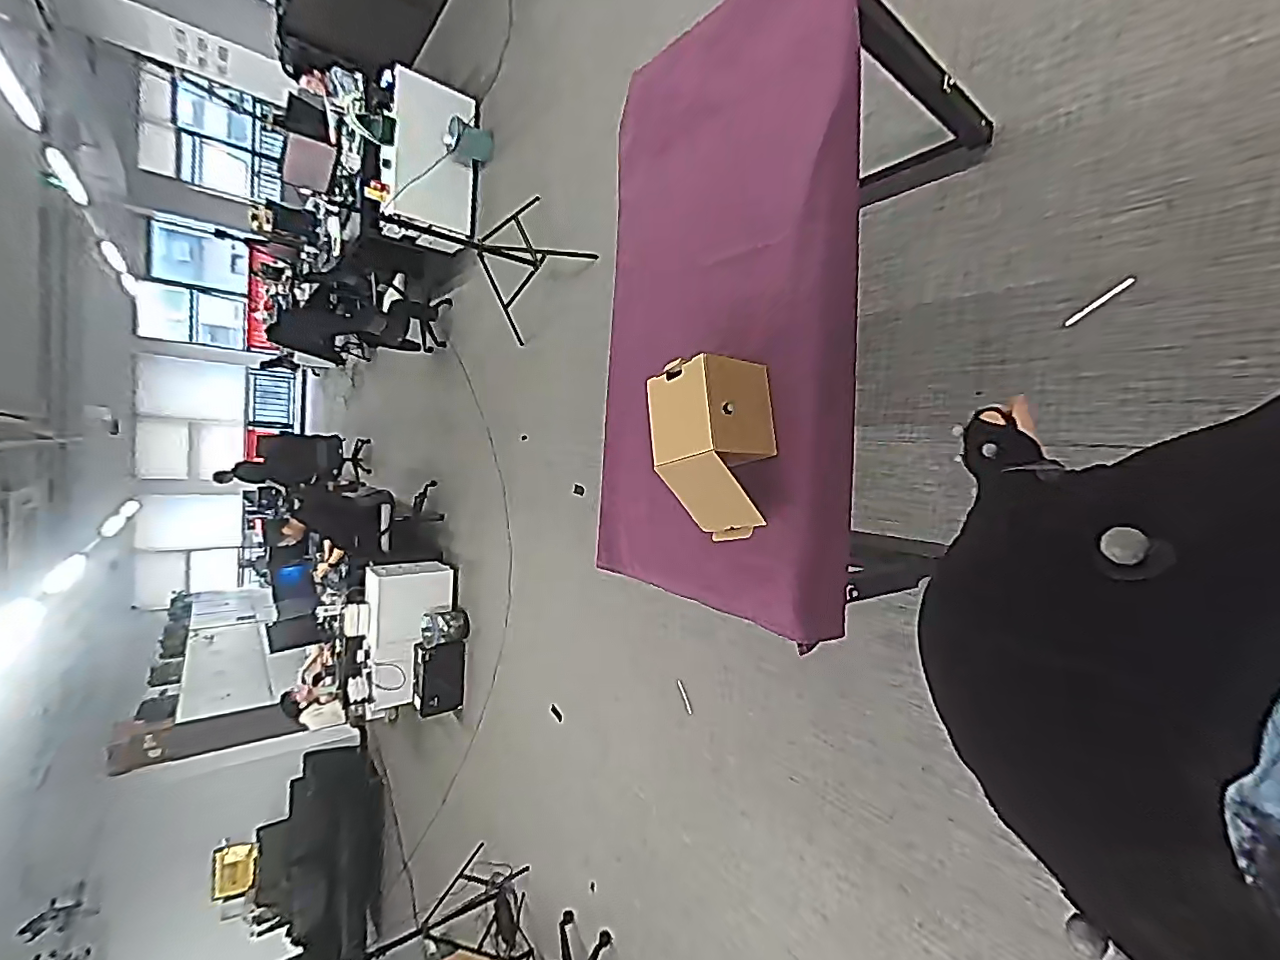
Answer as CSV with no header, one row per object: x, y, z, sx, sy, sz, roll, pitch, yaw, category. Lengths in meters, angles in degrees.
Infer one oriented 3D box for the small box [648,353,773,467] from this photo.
0.134,-0.122,1.024,0.168,0.176,0.179,-14,78,52,small box
